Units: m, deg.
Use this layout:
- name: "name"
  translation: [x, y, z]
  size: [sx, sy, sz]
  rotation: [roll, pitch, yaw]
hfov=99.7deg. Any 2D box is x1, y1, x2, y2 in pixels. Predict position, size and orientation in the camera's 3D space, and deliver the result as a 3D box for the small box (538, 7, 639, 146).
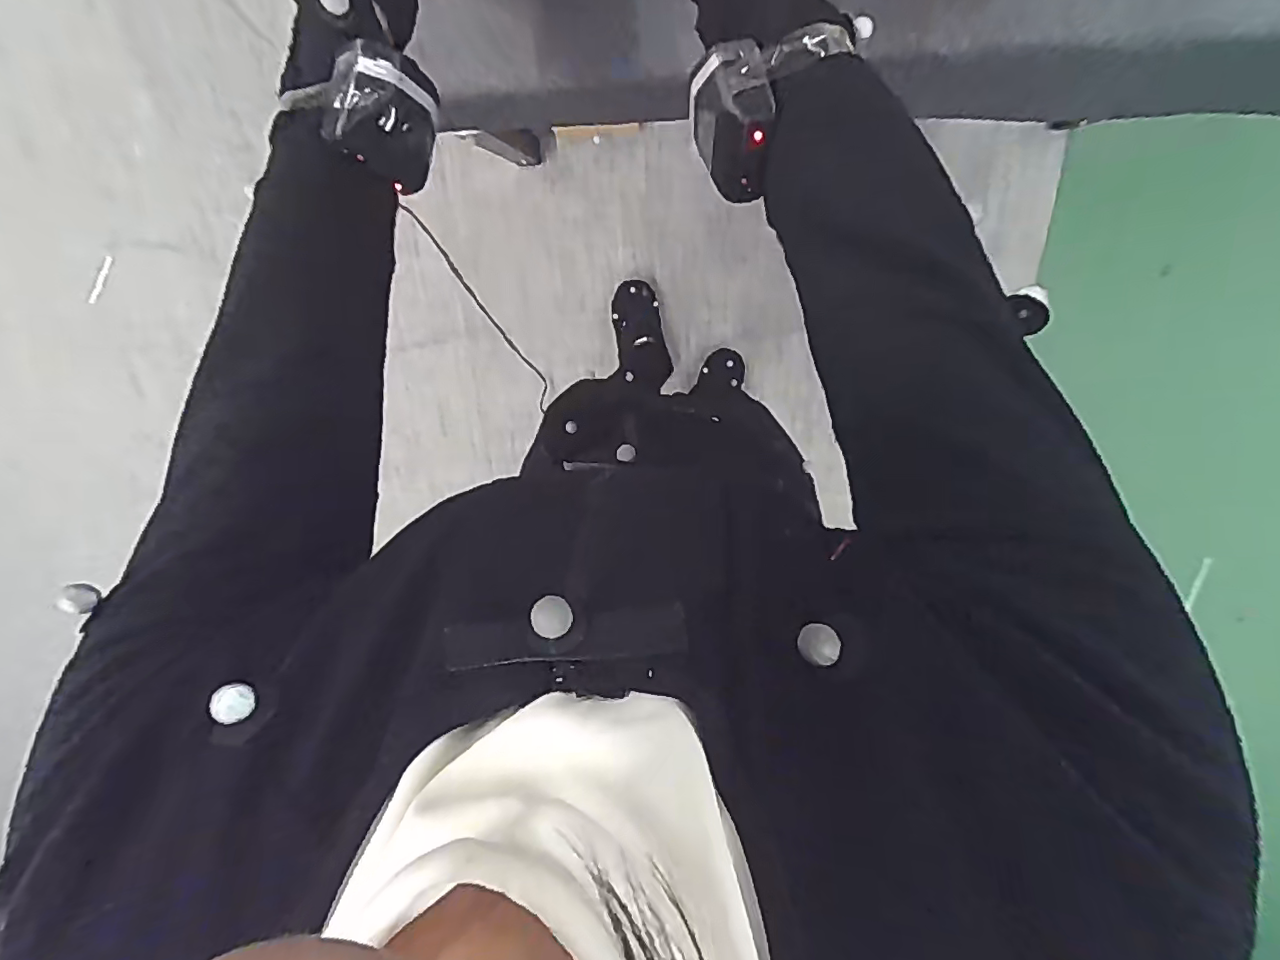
- name: "small box"
  translation: [-0.092, -0.776, 1.058]
  size: [0.168, 0.176, 0.179]
  rotation: [-5, 114, 4]
